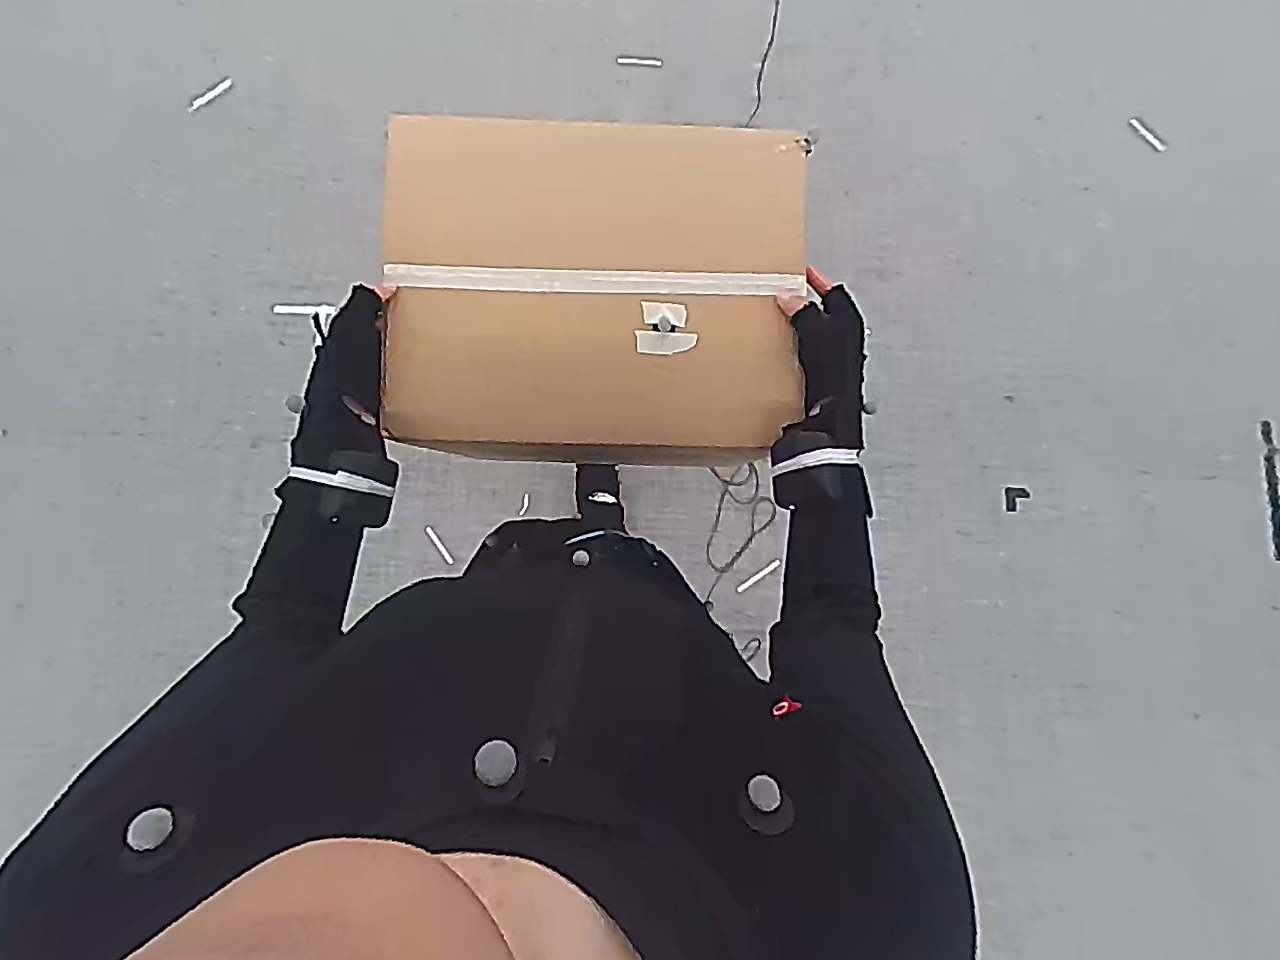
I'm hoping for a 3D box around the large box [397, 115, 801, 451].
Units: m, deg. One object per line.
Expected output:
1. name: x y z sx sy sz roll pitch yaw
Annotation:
1. large box: -0.044 -0.202 0.685 0.408 0.320 0.320 2 90 -2
